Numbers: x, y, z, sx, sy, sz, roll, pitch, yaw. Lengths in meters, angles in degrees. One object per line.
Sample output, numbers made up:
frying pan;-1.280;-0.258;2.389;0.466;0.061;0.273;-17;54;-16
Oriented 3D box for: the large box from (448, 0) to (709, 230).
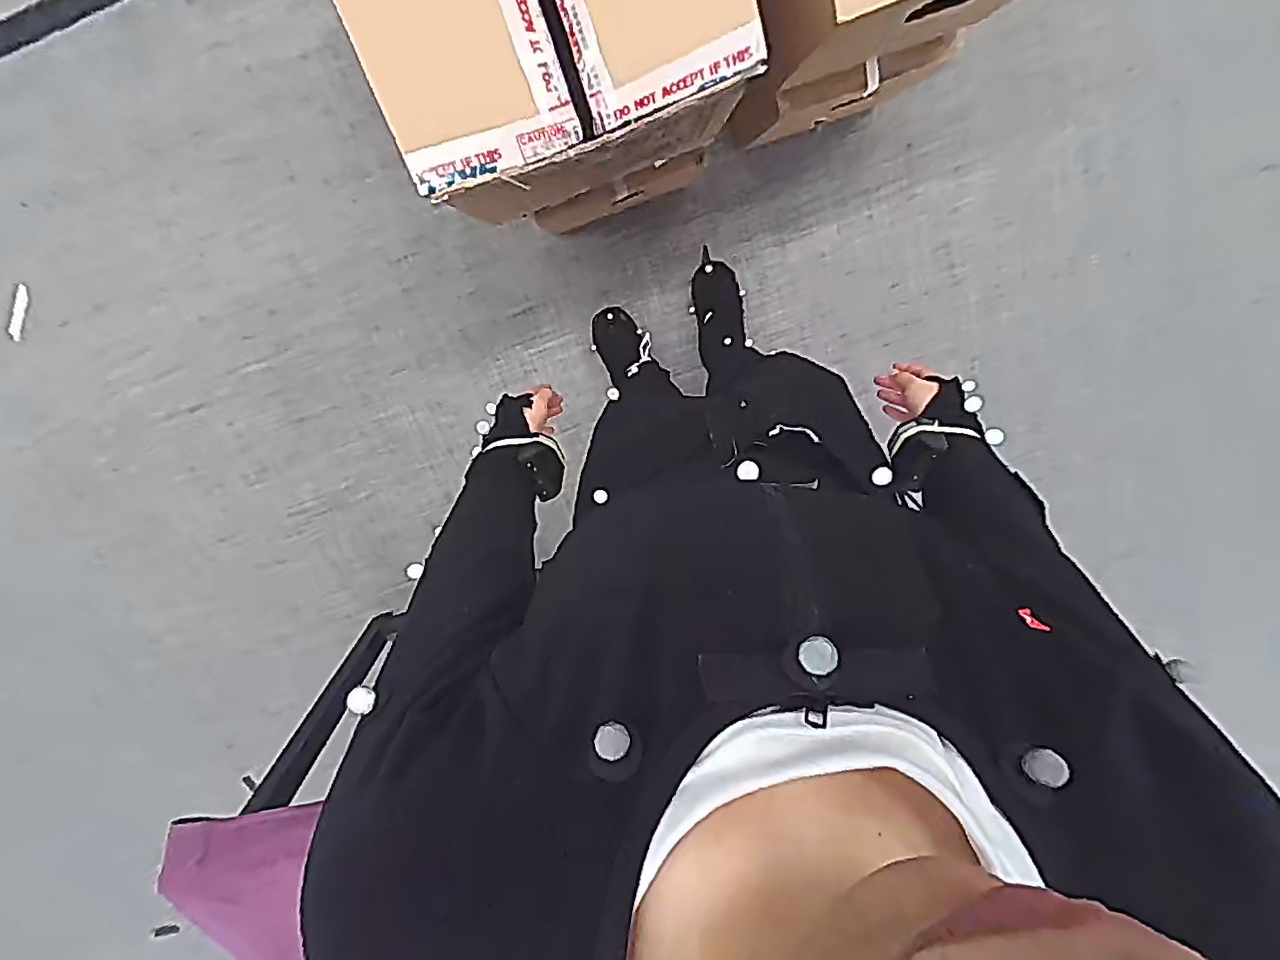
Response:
large box;-0.105;-0.718;0.976;0.320;0.320;0.408;-20;112;6
